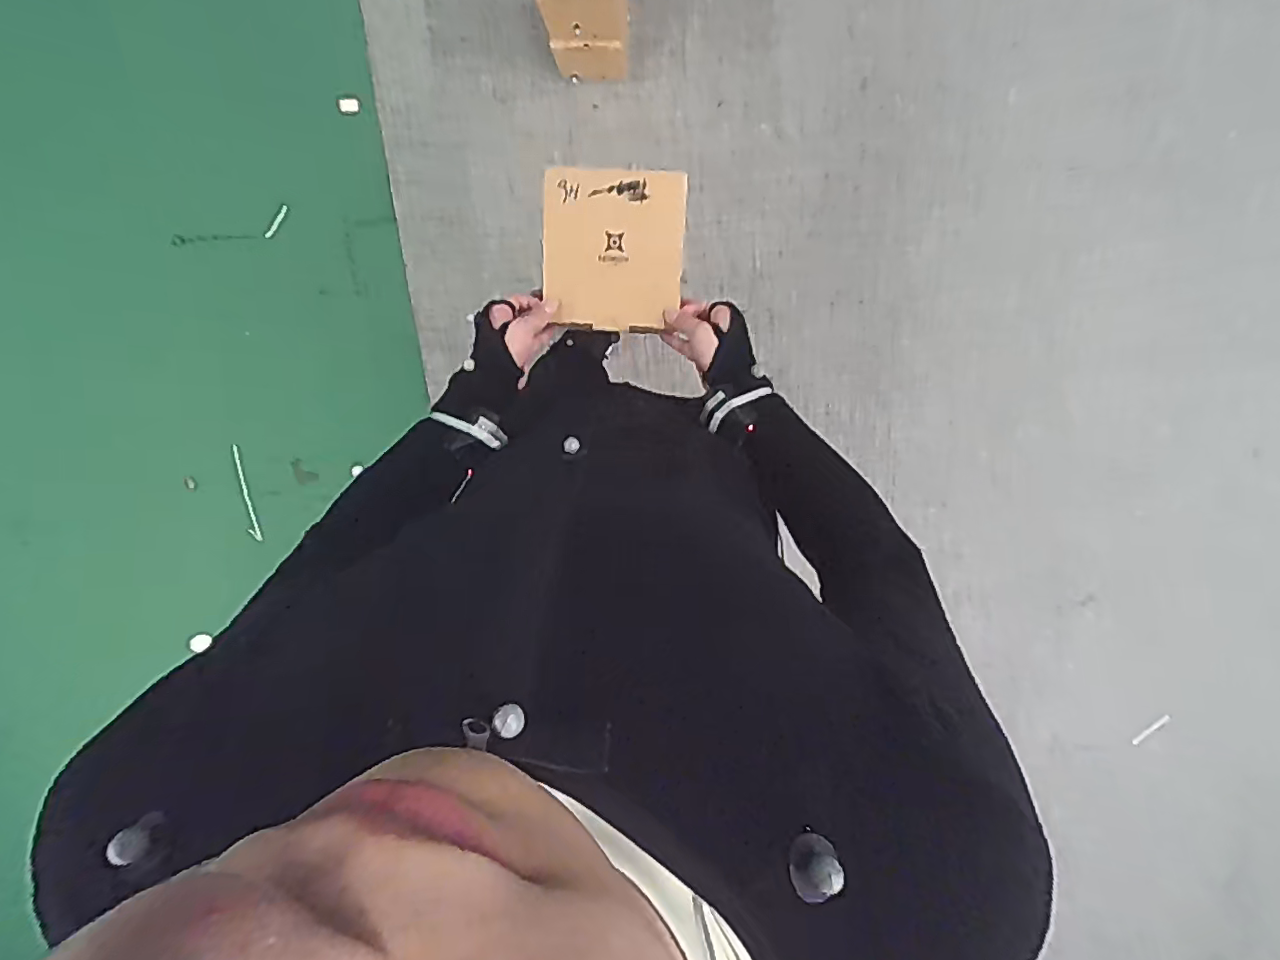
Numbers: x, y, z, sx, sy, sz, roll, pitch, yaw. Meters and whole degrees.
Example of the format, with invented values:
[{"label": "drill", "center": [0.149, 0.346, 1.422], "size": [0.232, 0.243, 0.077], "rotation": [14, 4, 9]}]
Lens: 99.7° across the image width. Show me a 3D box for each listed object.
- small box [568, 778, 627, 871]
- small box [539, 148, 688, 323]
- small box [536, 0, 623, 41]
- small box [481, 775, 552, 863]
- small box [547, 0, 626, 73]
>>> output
[{"label": "small box", "center": [-0.126, 1.055, 1.661], "size": [0.168, 0.176, 0.179], "rotation": [0, 105, 1]}, {"label": "small box", "center": [-0.031, -0.301, 0.701], "size": [0.168, 0.176, 0.179], "rotation": [4, 104, 0]}, {"label": "small box", "center": [-0.127, -1.049, 1.094], "size": [0.179, 0.176, 0.168], "rotation": [32, 106, -6]}, {"label": "small box", "center": [-0.371, 1.039, 1.666], "size": [0.179, 0.176, 0.168], "rotation": [-2, 105, 2]}, {"label": "small box", "center": [-0.118, -1.072, 1.248], "size": [0.168, 0.176, 0.179], "rotation": [1, 105, 1]}]
